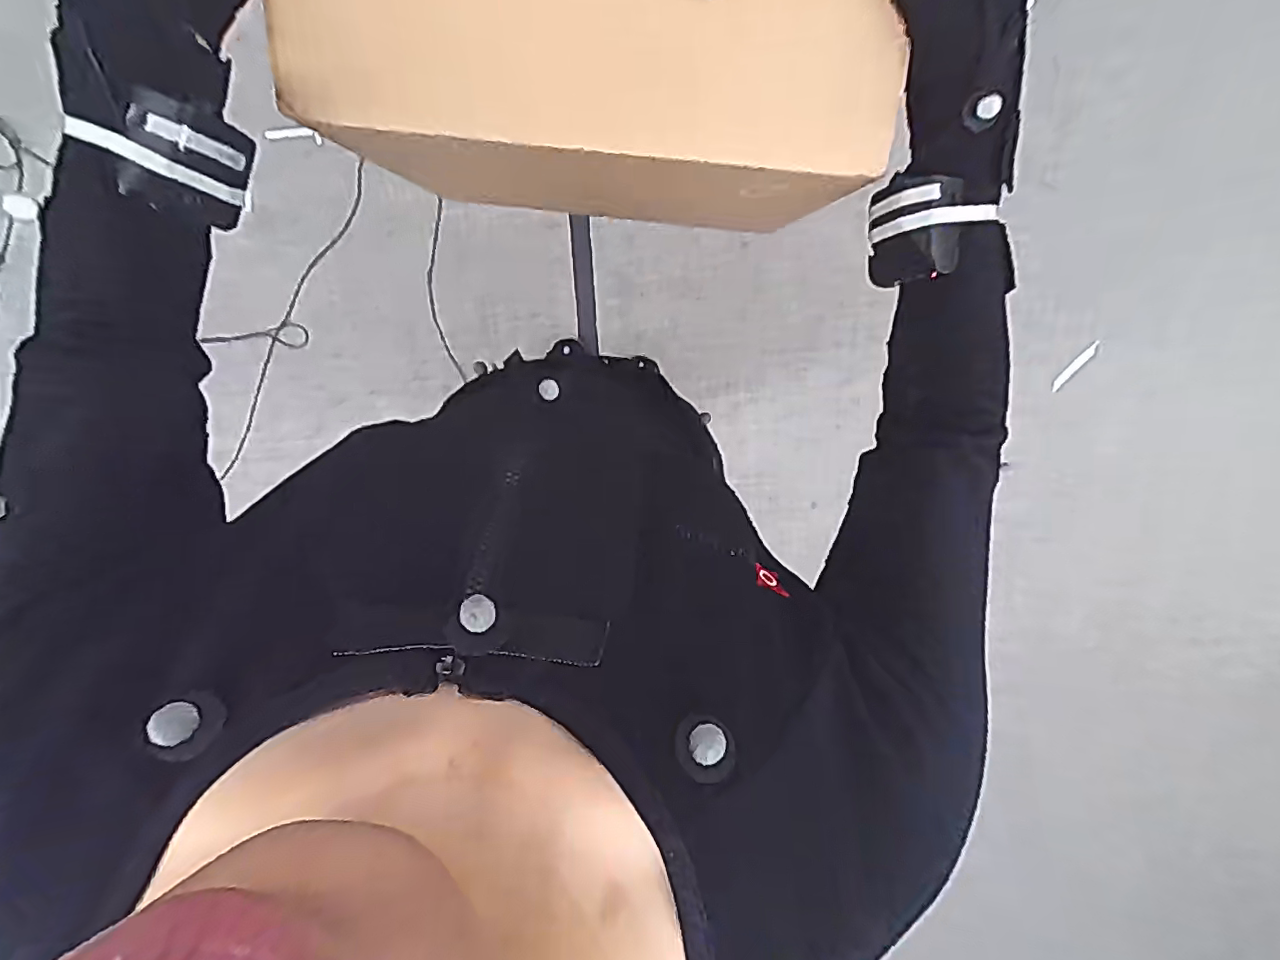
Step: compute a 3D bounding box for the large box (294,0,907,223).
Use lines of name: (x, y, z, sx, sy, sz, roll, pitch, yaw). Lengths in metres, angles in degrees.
large box: (-0.022, -0.424, 0.469, 0.408, 0.320, 0.320, 4, 109, -2)
